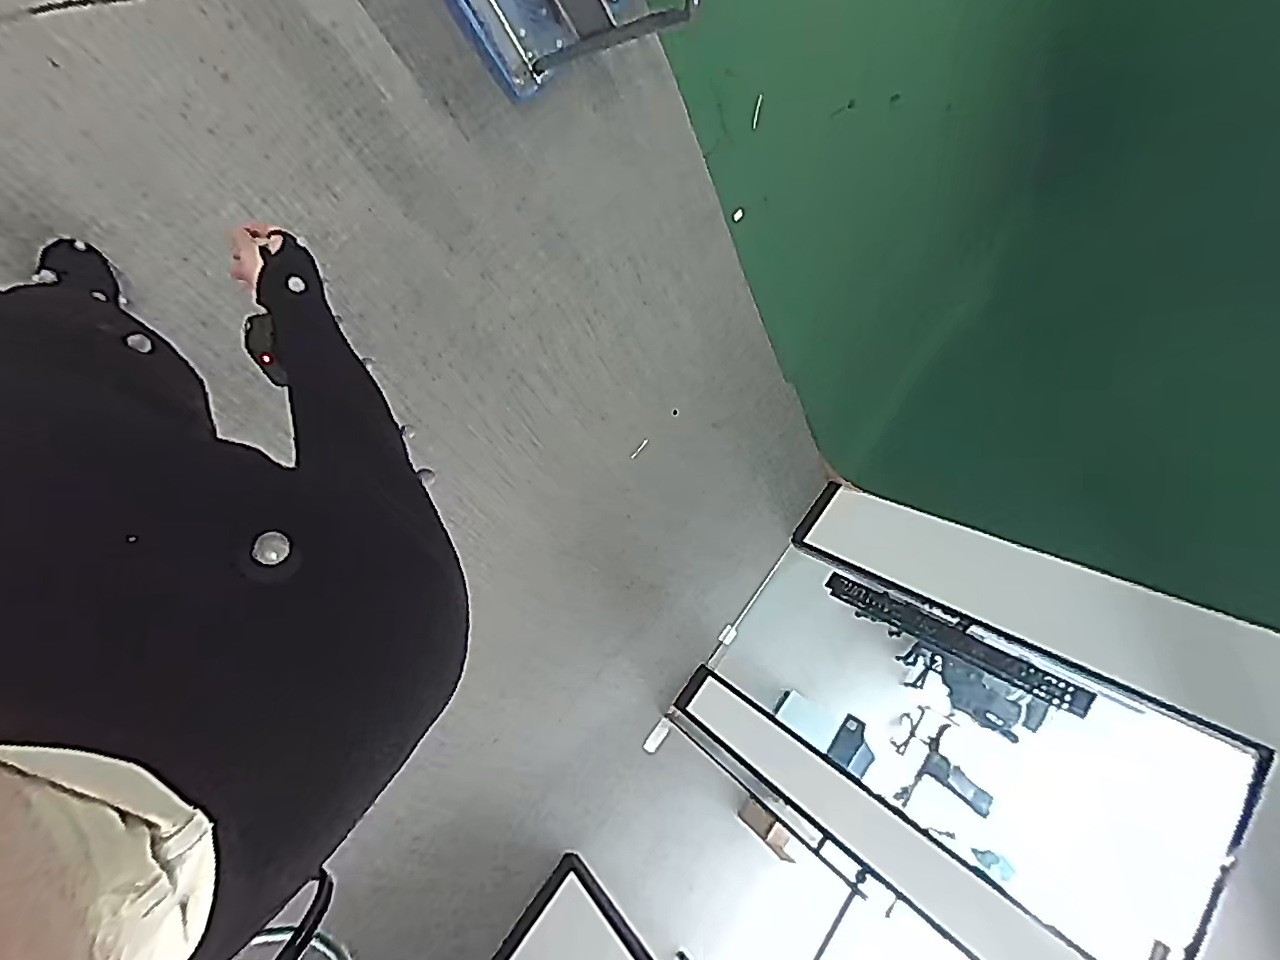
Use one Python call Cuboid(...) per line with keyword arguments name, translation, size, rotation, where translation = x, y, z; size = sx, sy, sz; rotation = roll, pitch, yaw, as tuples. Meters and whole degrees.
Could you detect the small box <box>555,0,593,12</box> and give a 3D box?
Cuboid(name="small box", translation=(-0.127, -1.258, 1.270), size=(0.179, 0.176, 0.168), rotation=(-50, 134, -11))
